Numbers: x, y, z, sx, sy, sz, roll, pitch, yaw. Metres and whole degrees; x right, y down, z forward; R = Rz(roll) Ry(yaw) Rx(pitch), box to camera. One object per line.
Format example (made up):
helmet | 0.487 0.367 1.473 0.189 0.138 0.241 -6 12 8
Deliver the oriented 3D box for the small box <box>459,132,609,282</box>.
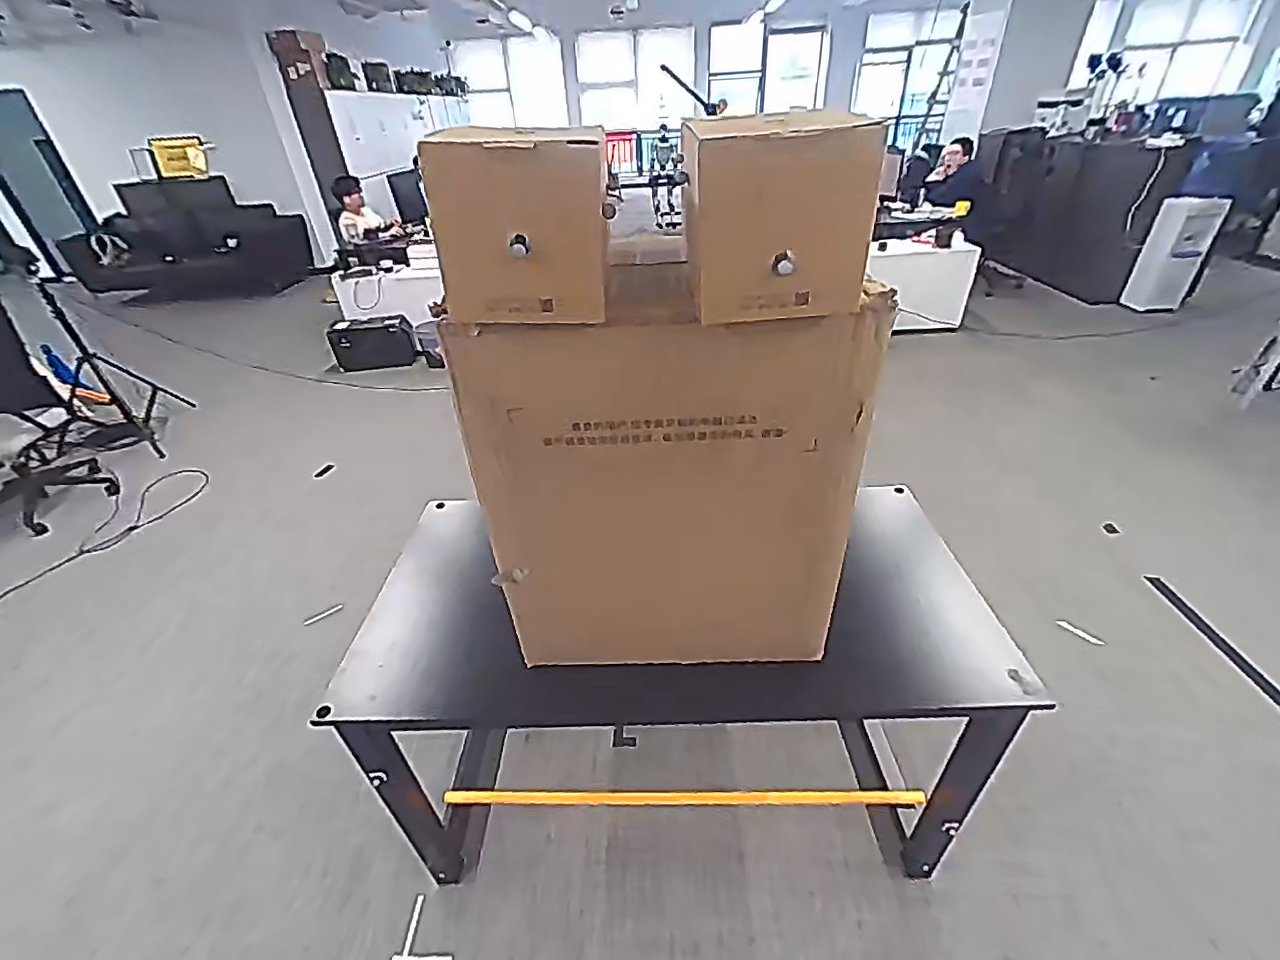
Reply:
small box | -0.133 -0.383 0.757 0.168 0.176 0.179 -3 34 1

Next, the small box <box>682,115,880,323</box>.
small box | 0.132 -0.281 0.581 0.168 0.176 0.179 -4 37 3

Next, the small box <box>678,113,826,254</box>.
small box | 0.138 -0.391 0.736 0.168 0.176 0.179 -4 33 2
